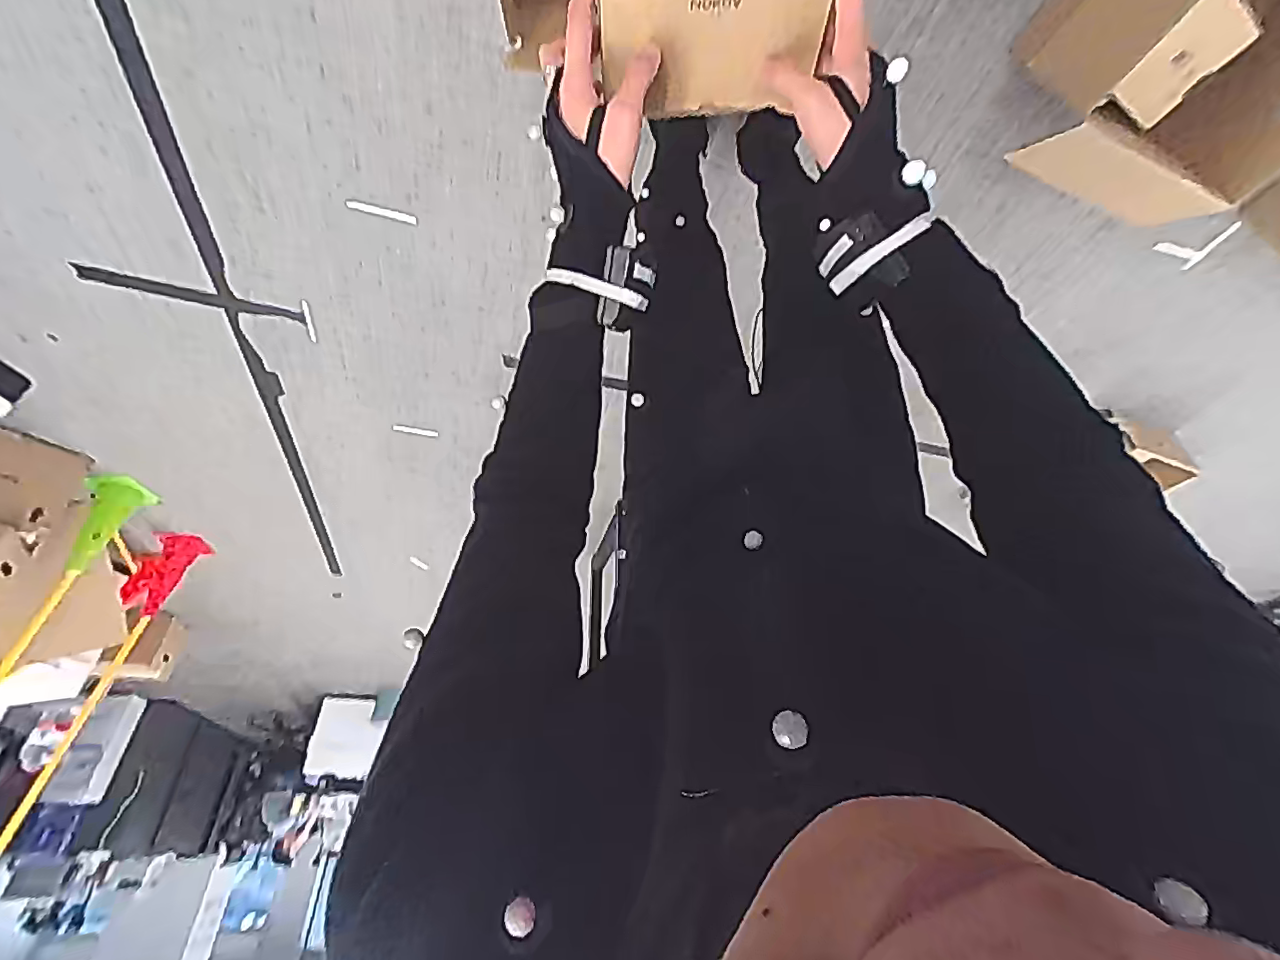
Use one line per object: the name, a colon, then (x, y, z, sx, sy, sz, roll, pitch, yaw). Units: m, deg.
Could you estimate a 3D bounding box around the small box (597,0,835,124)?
small box: (0.048, -0.403, 0.396, 0.168, 0.176, 0.179, -5, 155, -2)
